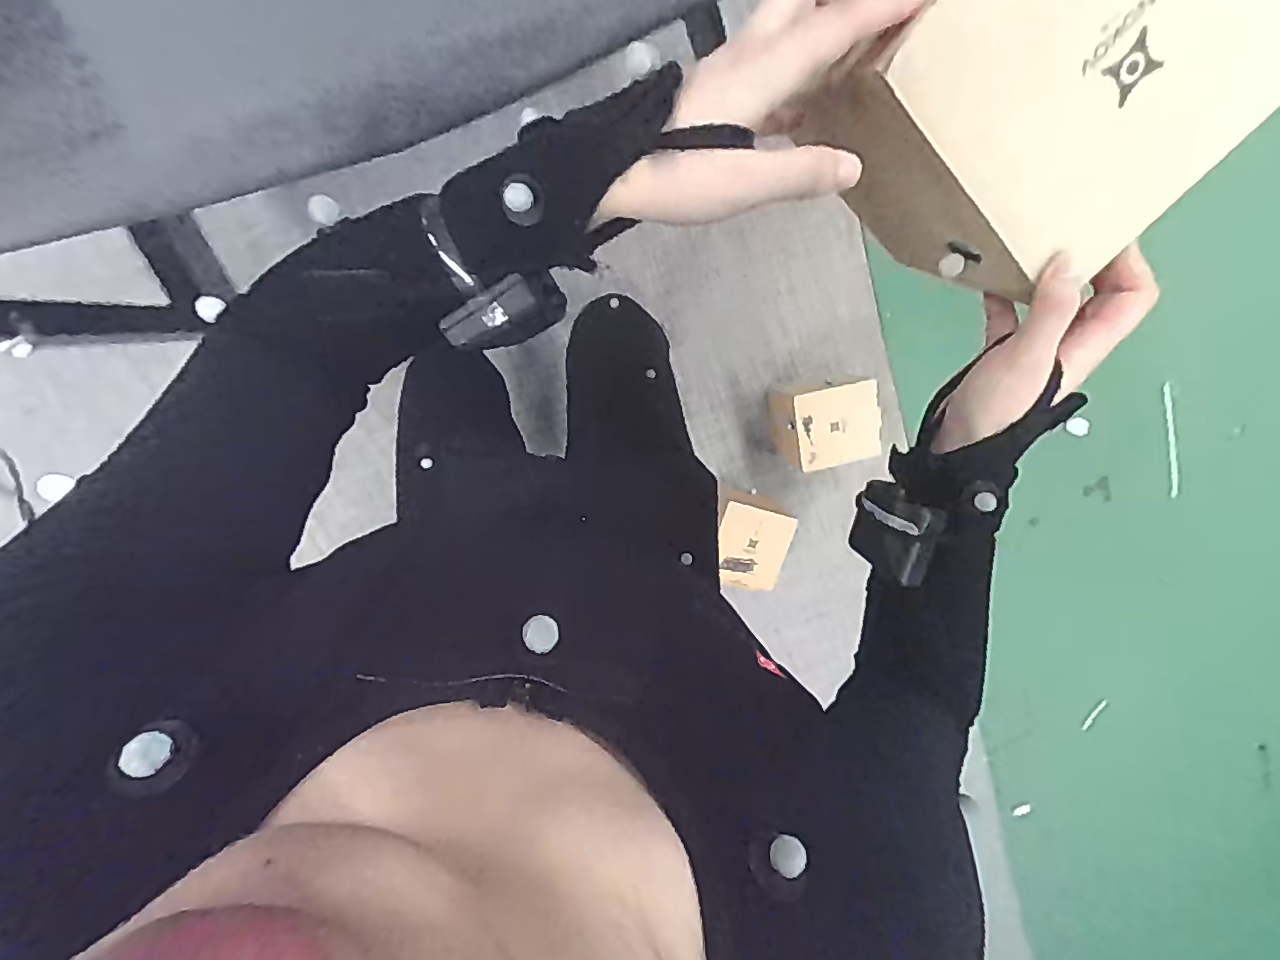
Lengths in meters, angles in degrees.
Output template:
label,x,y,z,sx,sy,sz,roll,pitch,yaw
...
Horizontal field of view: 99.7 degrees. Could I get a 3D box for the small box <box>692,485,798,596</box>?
label,x,y,z,sx,sy,sz,roll,pitch,yaw
small box,0.227,0.132,1.230,0.168,0.176,0.179,16,102,-10

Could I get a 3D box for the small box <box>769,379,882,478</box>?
label,x,y,z,sx,sy,sz,roll,pitch,yaw
small box,0.399,-0.119,1.176,0.179,0.176,0.168,-12,107,-2
